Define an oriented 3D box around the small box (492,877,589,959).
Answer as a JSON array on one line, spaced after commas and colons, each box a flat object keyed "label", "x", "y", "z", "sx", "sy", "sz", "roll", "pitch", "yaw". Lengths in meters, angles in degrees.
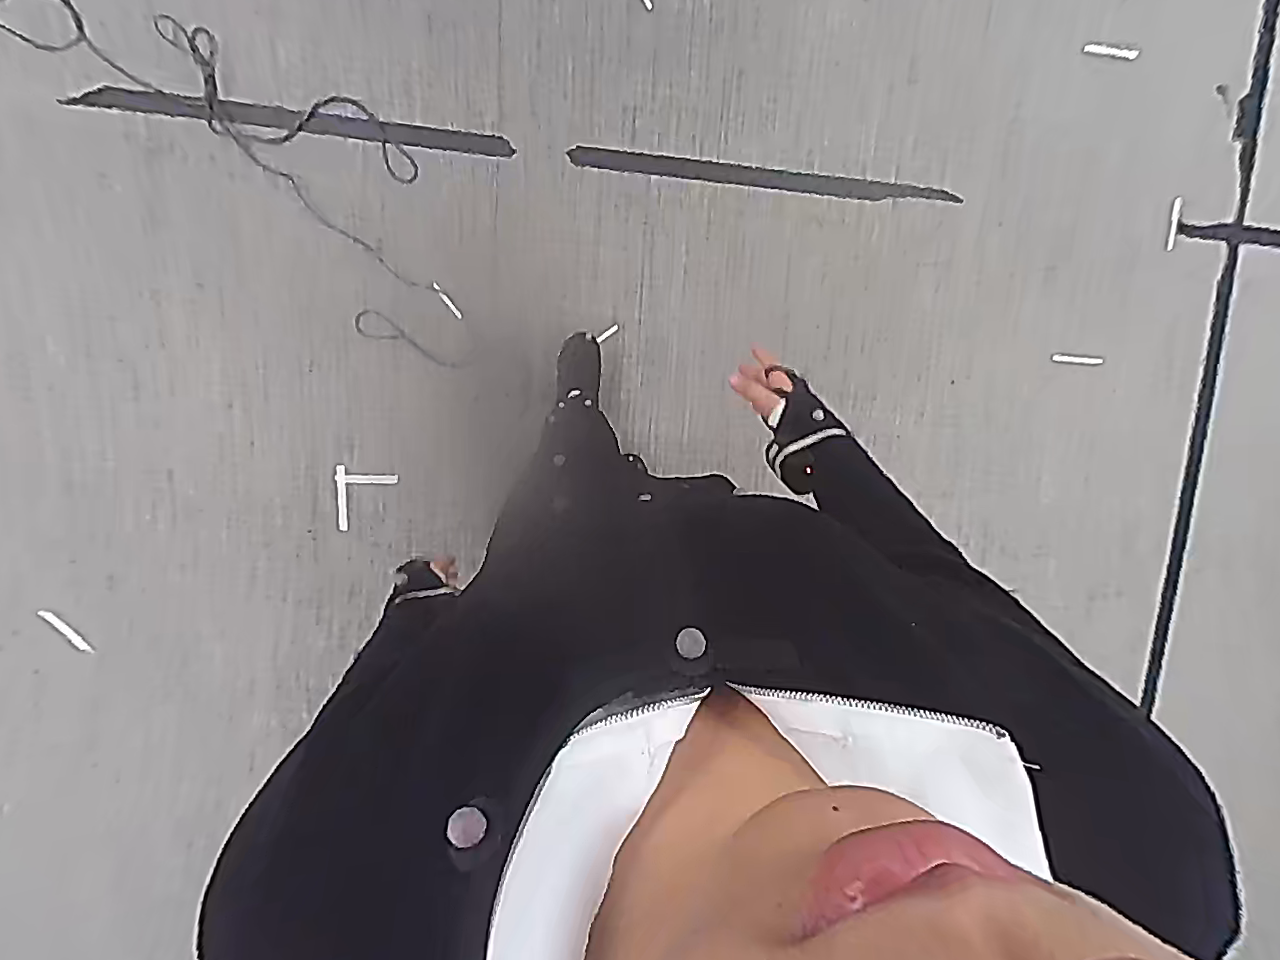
[{"label": "small box", "x": -0.182, "y": 0.887, "z": 1.005, "sx": 0.168, "sy": 0.176, "sz": 0.179, "roll": 2, "pitch": 94, "yaw": -7}]
